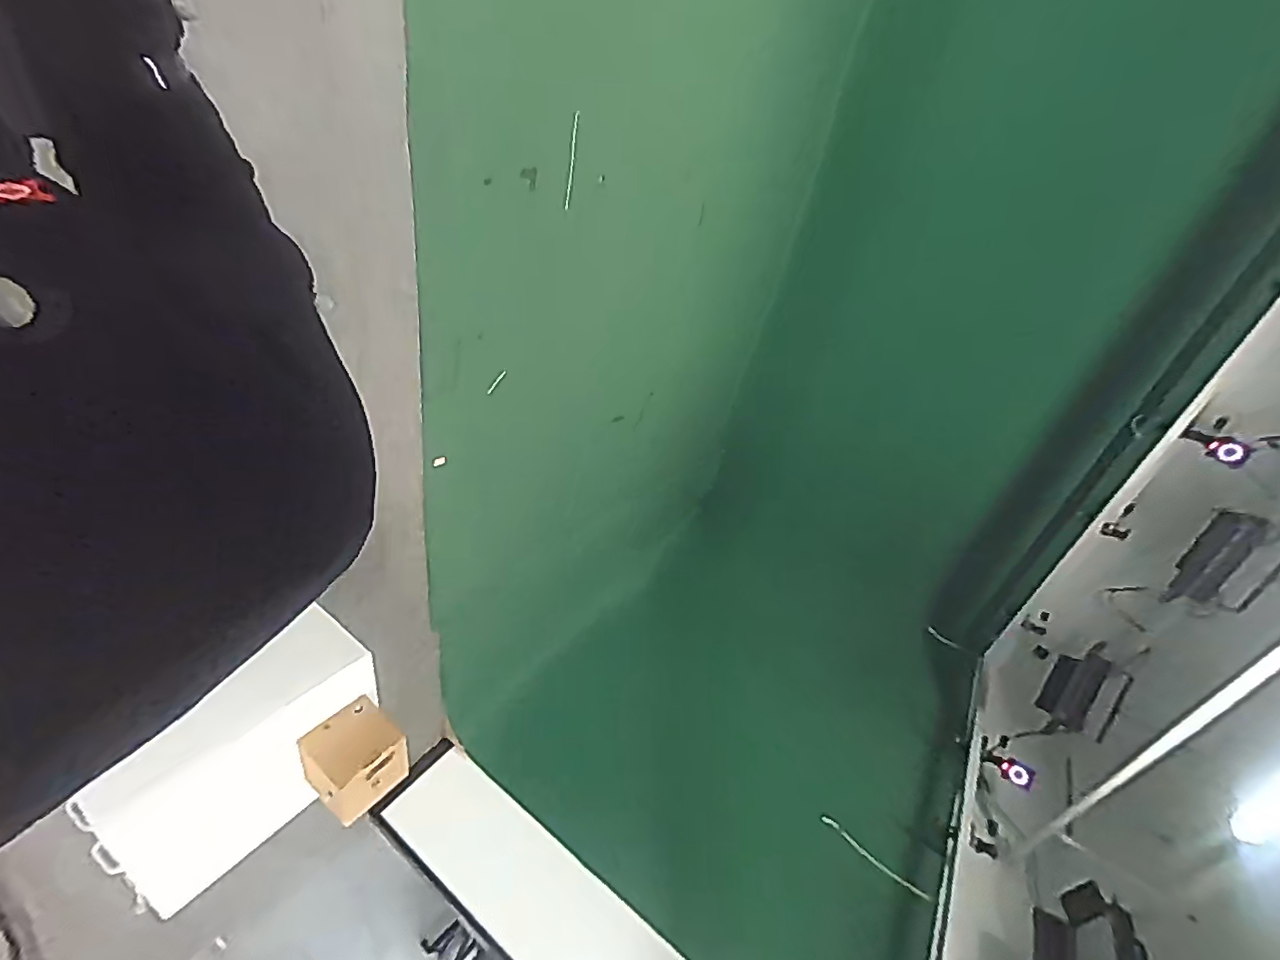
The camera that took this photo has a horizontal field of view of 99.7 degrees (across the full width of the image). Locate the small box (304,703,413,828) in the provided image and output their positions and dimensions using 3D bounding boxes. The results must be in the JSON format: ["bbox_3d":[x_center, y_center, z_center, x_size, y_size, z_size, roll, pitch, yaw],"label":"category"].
[{"bbox_3d":[-0.666,0.665,1.282,0.168,0.176,0.179,-32,143,-48],"label":"small box"}]
